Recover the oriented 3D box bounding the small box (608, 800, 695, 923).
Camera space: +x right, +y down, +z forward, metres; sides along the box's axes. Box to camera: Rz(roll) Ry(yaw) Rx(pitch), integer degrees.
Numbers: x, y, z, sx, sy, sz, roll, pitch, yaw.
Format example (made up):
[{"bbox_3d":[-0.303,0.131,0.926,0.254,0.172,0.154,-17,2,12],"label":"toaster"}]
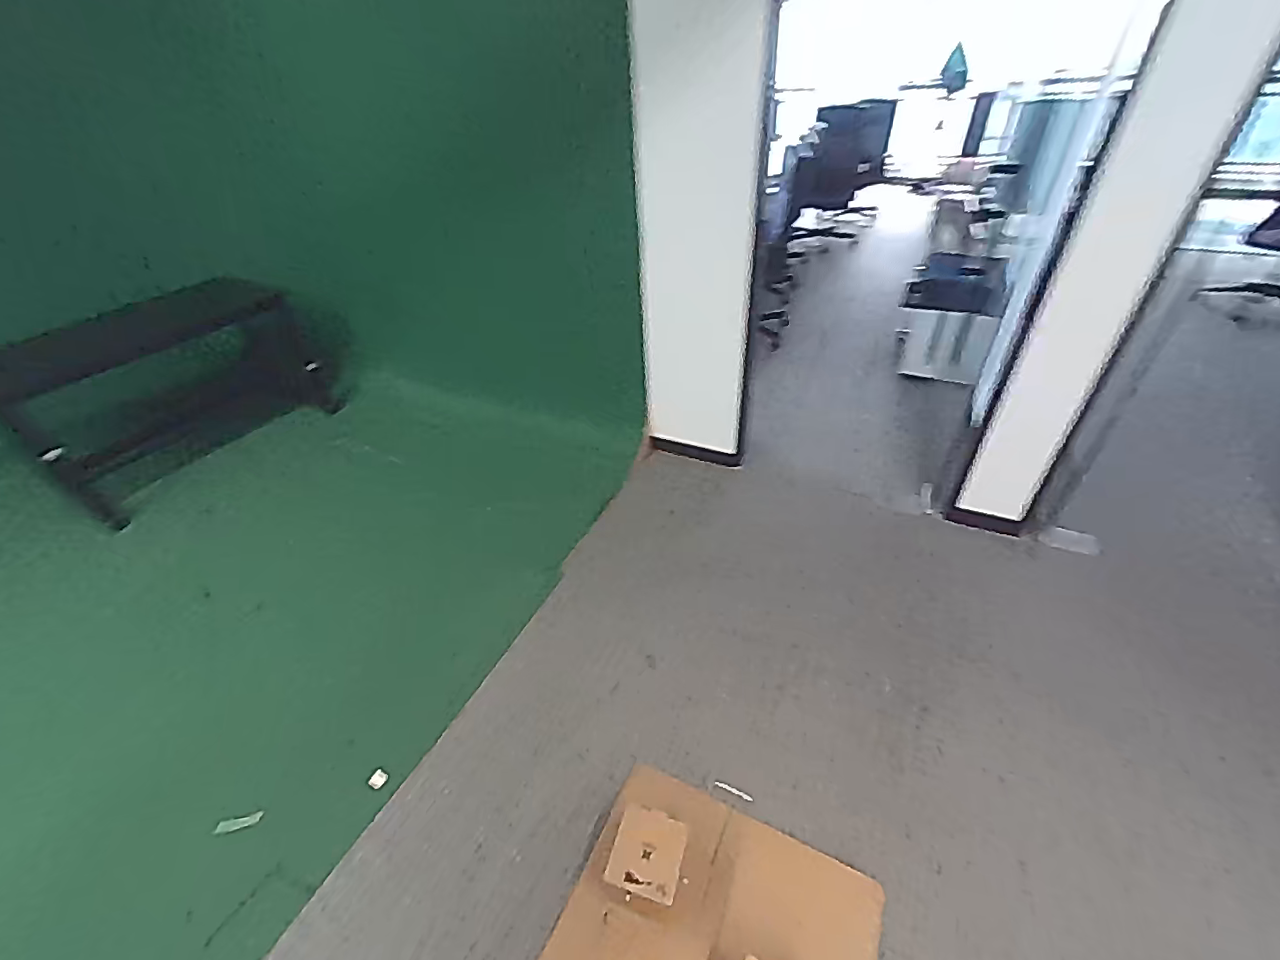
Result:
[{"bbox_3d":[0.032,0.932,1.321,0.168,0.176,0.179,11,41,17],"label":"small box"}]
